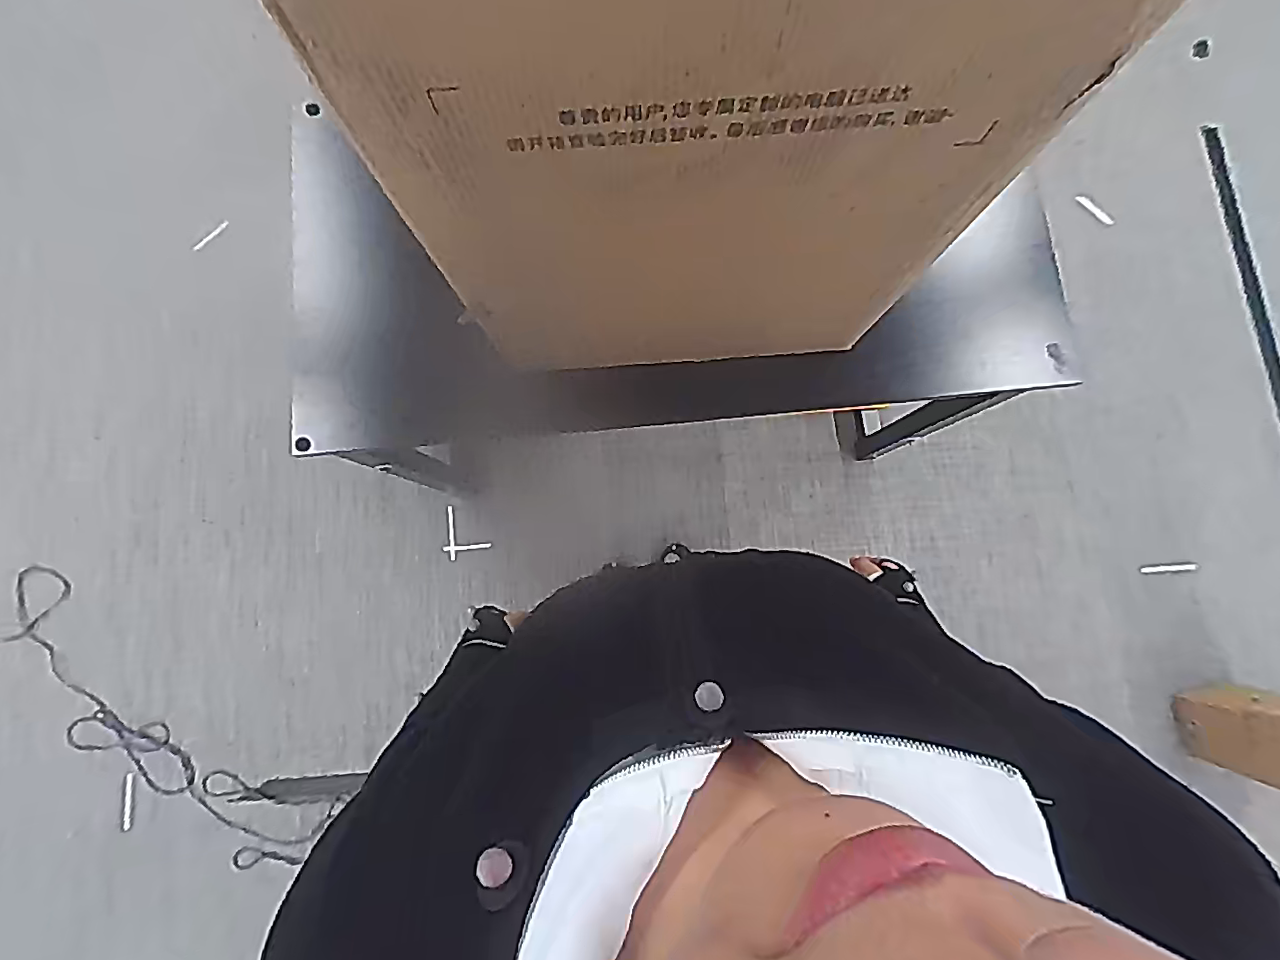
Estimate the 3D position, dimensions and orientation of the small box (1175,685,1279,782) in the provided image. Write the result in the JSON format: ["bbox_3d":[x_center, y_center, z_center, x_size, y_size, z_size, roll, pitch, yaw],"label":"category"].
[{"bbox_3d":[1.529,0.628,1.360,0.179,0.176,0.168,-10,81,0],"label":"small box"}]

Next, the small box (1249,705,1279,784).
[{"bbox_3d":[1.529,0.604,1.197,0.168,0.176,0.179,-6,82,0],"label":"small box"}]
